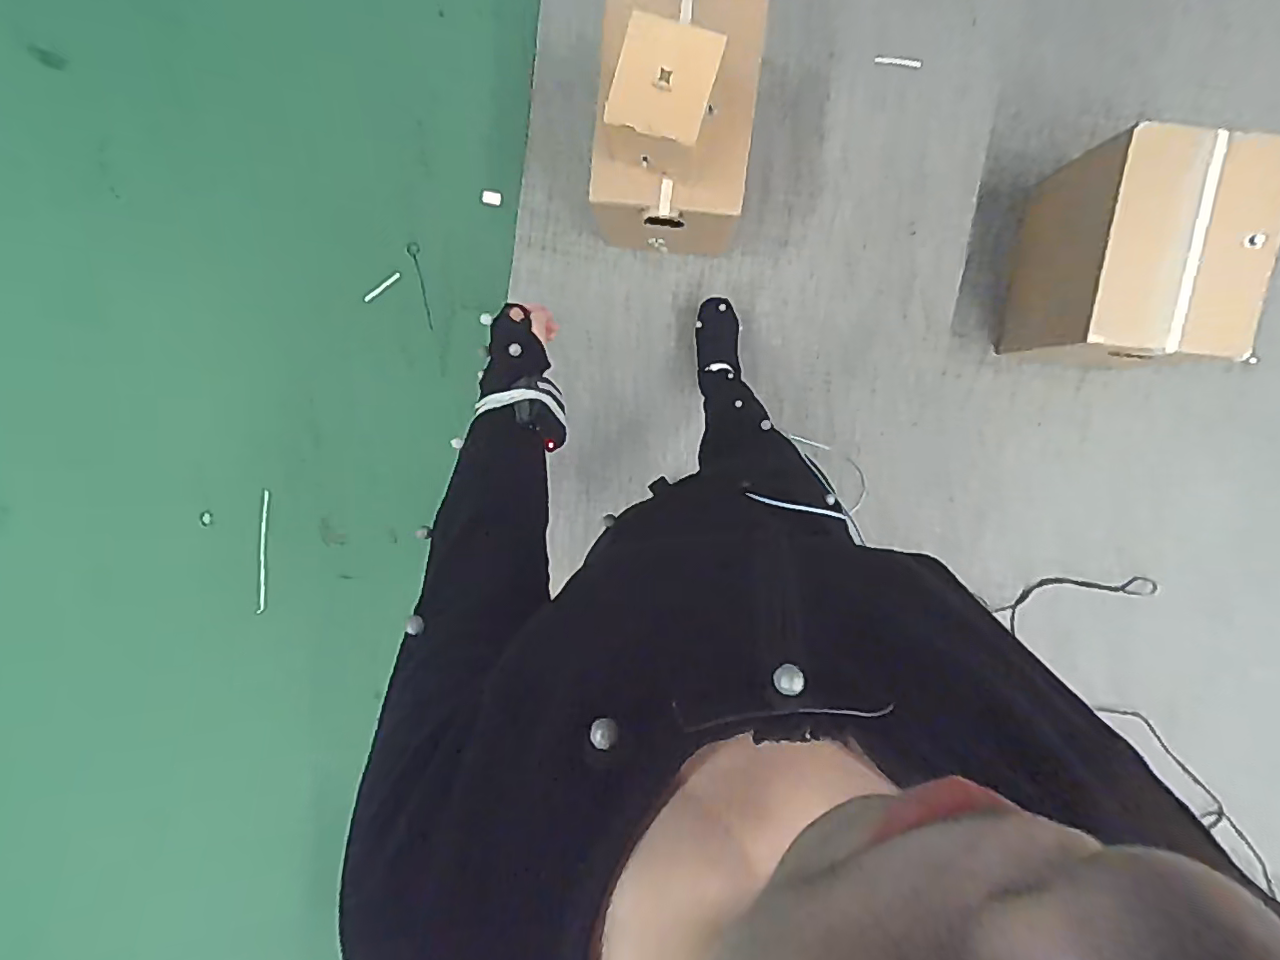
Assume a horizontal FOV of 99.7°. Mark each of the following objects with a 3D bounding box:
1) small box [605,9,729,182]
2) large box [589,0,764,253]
[{"bbox_3d":[0.049,-0.677,0.973,0.168,0.176,0.179,18,100,2],"label":"small box"},{"bbox_3d":[0.079,-0.762,1.206,0.320,0.320,0.408,7,98,3],"label":"large box"}]
